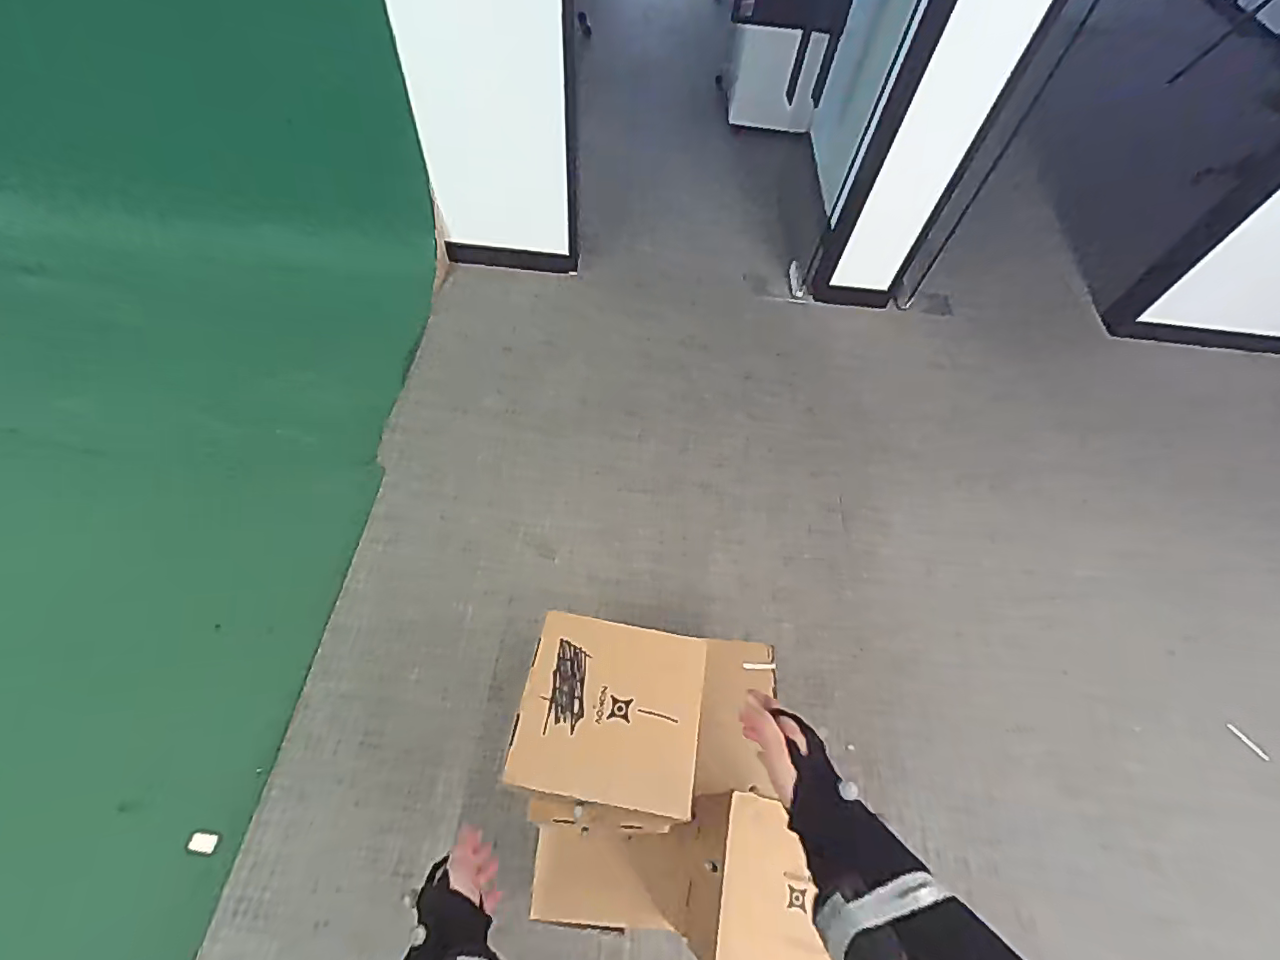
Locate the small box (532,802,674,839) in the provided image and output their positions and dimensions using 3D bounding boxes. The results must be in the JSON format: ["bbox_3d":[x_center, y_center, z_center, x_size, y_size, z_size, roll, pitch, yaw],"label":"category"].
[{"bbox_3d":[-0.042,0.368,0.723,0.168,0.176,0.179,6,57,-1],"label":"small box"}]

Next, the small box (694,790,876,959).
[{"bbox_3d":[0.167,0.498,0.654,0.168,0.176,0.179,13,57,3],"label":"small box"}]

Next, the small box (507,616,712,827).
[{"bbox_3d":[-0.028,0.269,0.591,0.179,0.176,0.168,11,56,1],"label":"small box"}]
